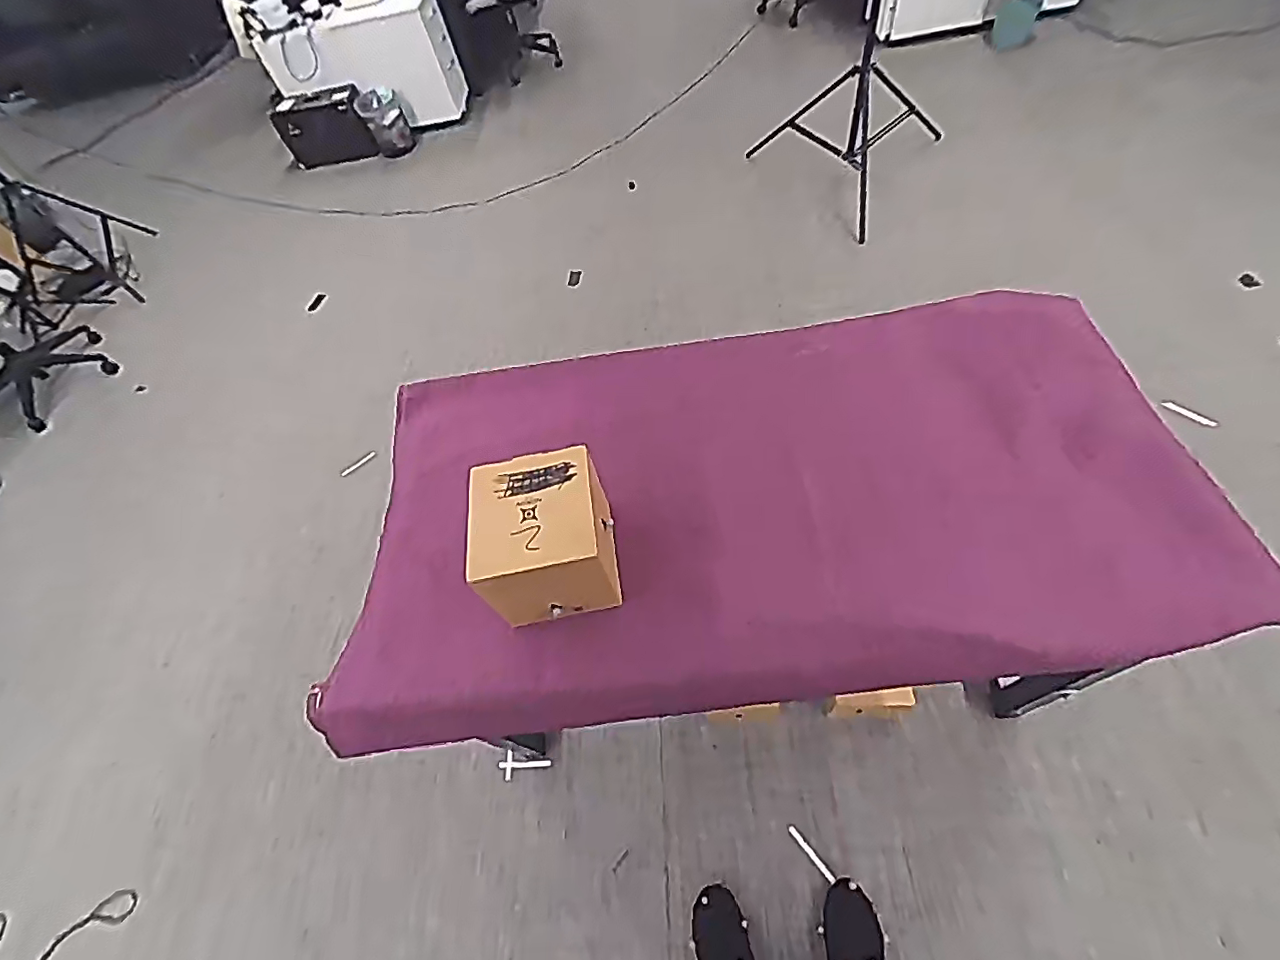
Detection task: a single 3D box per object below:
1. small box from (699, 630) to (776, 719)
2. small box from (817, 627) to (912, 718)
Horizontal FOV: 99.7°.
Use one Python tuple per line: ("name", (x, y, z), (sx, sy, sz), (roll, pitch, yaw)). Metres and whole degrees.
("small box", (0.237, 0.481, 1.321), (0.168, 0.176, 0.179), (-5, 56, 6))
("small box", (0.523, 0.461, 1.285), (0.168, 0.176, 0.179), (-3, 56, 9))
